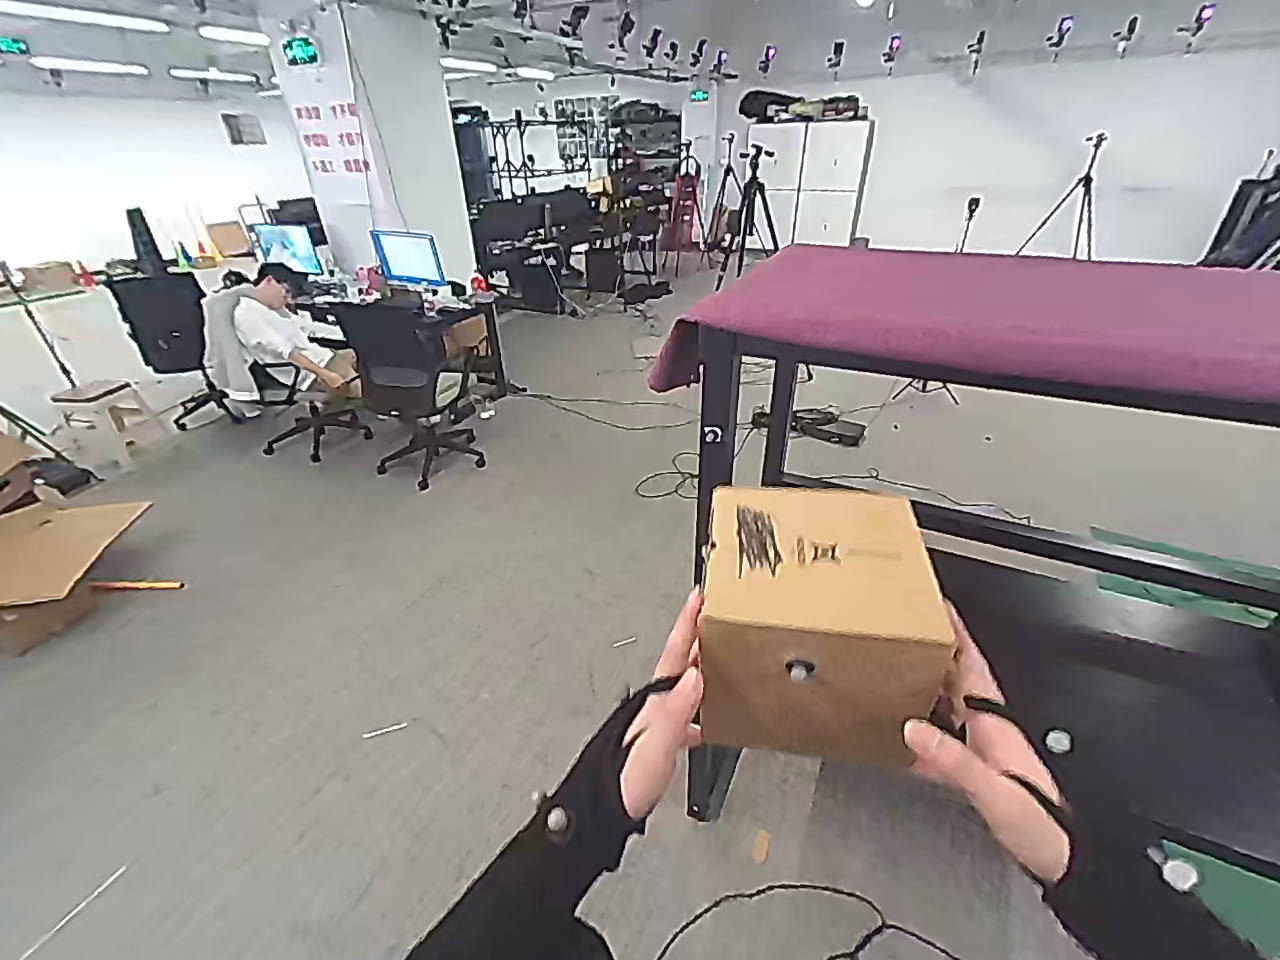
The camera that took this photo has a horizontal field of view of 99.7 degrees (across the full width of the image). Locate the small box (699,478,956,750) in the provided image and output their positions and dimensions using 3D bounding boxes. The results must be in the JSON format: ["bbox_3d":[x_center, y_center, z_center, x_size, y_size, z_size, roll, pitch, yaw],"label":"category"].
[{"bbox_3d":[0.149,0.115,0.484,0.179,0.176,0.168,3,37,11],"label":"small box"}]
